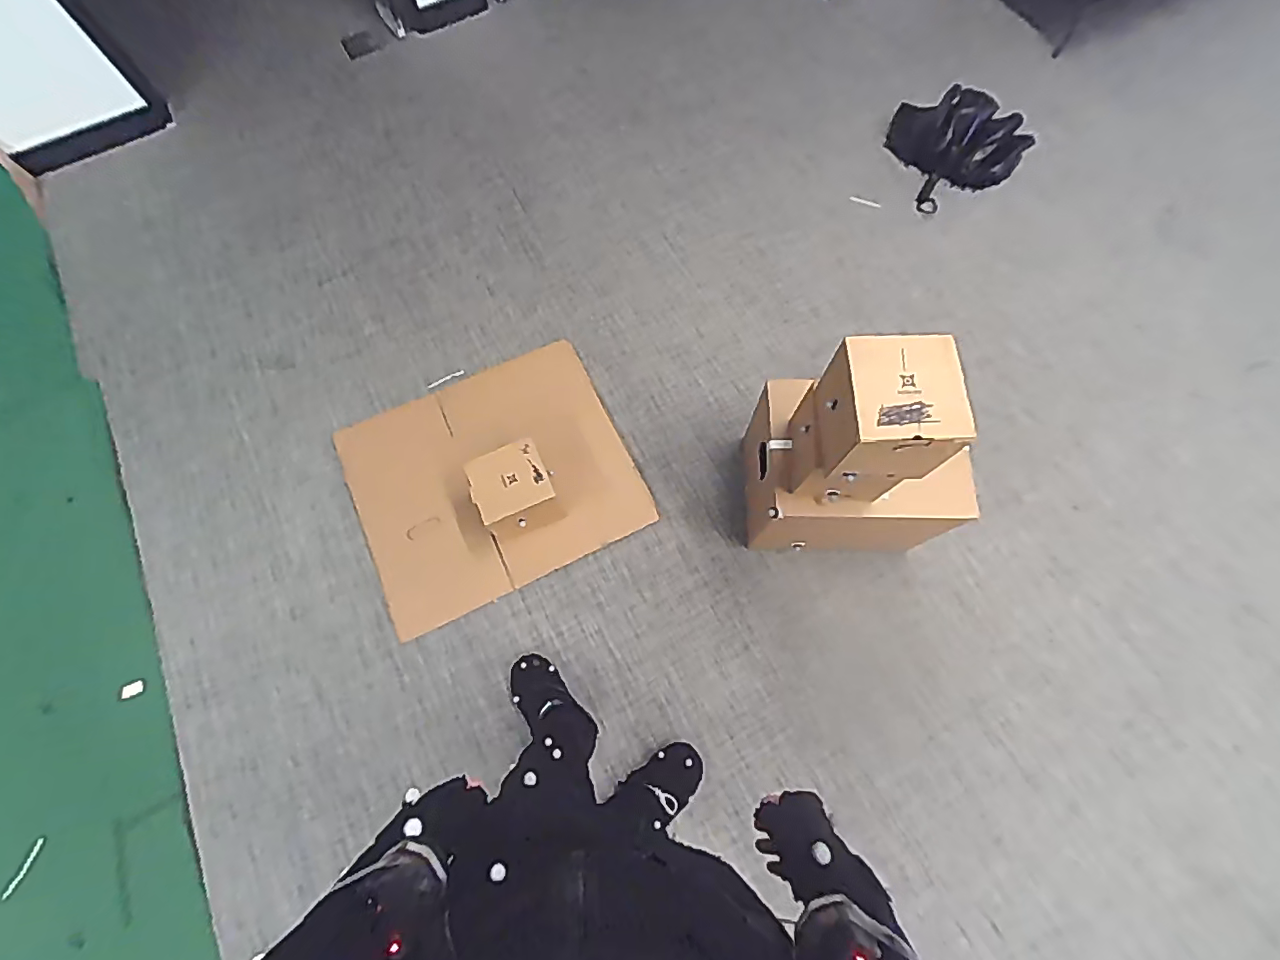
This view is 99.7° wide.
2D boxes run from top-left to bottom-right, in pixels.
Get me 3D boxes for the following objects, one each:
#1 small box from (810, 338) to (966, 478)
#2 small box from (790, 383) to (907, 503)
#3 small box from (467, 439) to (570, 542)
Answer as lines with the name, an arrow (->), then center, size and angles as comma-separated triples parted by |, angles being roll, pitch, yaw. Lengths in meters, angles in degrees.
small box -> 0.386, -0.106, 0.876 | 0.168, 0.176, 0.179 | -4, 72, 1
small box -> 0.387, -0.067, 1.036 | 0.168, 0.176, 0.179 | 3, 73, 3
small box -> -0.293, 0.033, 1.328 | 0.179, 0.176, 0.168 | -26, 70, -6
